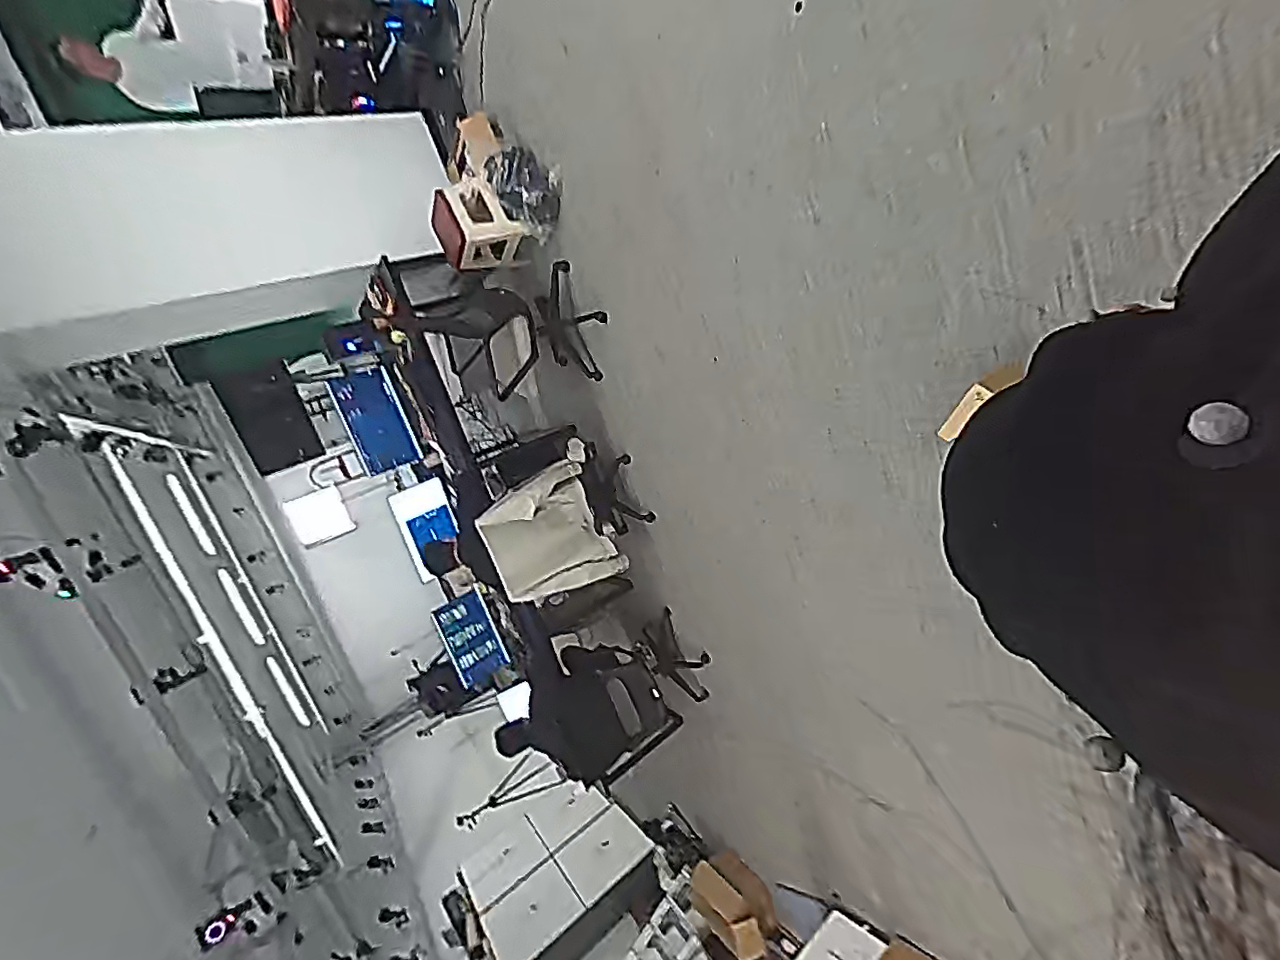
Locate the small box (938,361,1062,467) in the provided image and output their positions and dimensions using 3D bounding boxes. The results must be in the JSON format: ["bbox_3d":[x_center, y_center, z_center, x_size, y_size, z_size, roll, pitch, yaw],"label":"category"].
[{"bbox_3d":[0.908,-0.169,1.364,0.168,0.176,0.179,48,148,27],"label":"small box"}]
